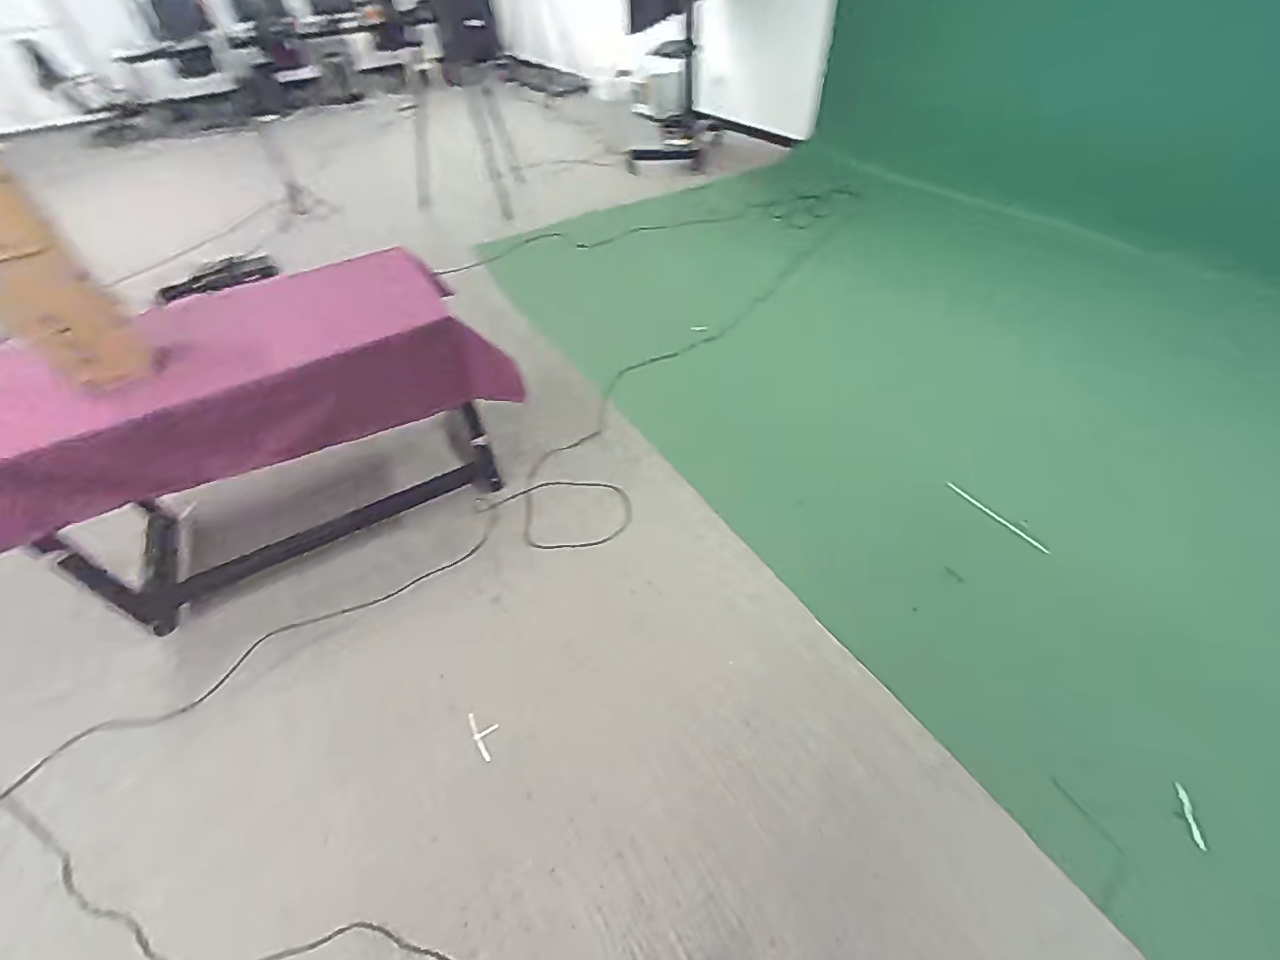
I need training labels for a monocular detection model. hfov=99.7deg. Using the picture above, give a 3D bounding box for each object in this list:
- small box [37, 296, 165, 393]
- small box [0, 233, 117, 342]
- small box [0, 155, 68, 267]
[{"bbox_3d":[-1.375,-0.344,1.395,0.168,0.176,0.179,-25,49,-19],"label":"small box"},{"bbox_3d":[-1.394,-0.452,1.271,0.179,0.176,0.168,-23,48,-18],"label":"small box"},{"bbox_3d":[-1.397,-0.572,1.160,0.168,0.176,0.179,-25,50,-18],"label":"small box"}]
